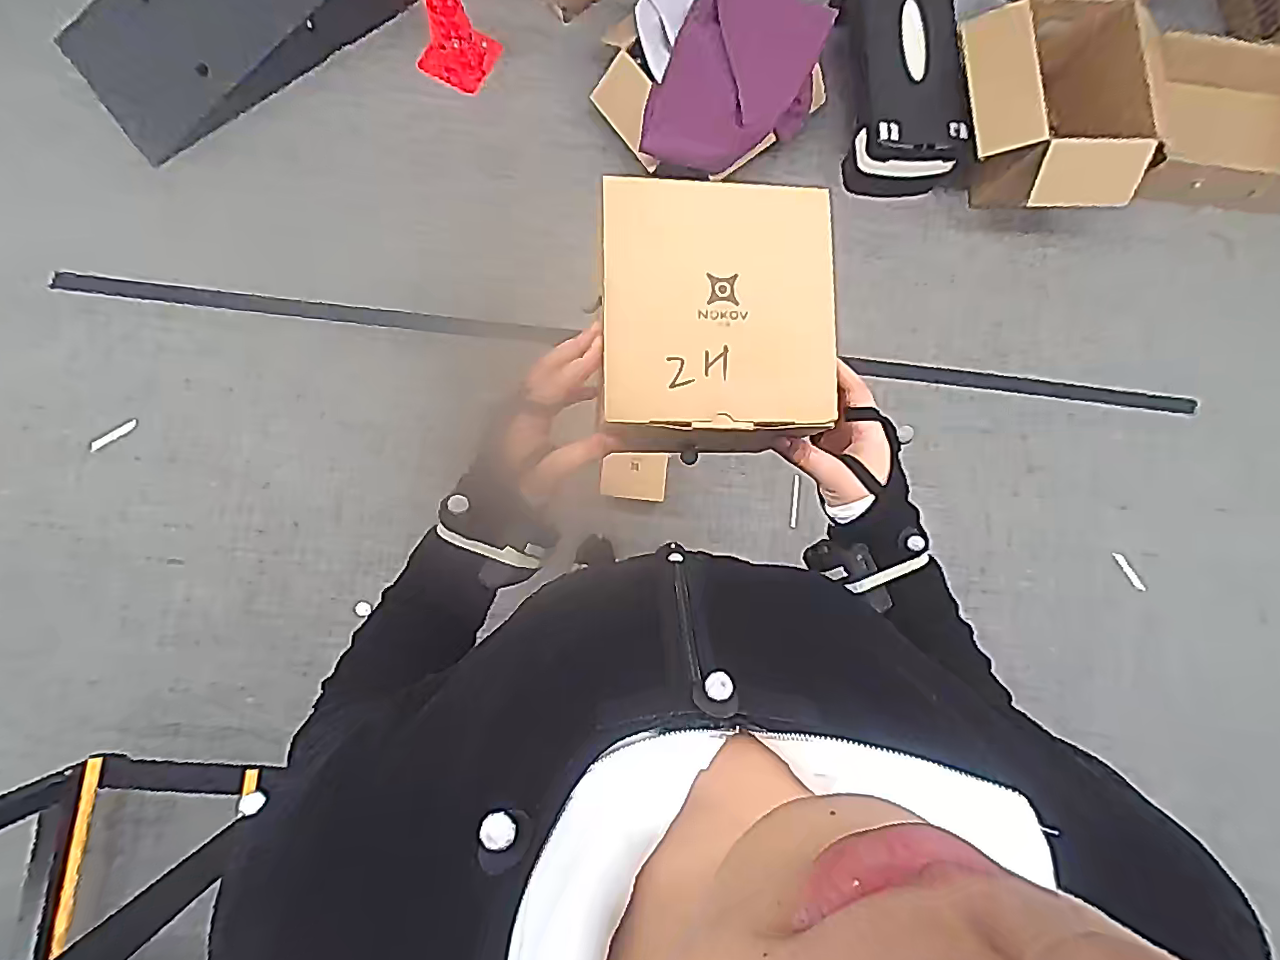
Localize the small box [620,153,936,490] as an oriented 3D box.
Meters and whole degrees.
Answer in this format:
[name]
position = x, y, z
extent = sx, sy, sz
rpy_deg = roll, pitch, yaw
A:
[small box]
position = 0.073, -0.086, 0.375
extent = 0.168, 0.176, 0.179
rpy_deg = 0, 86, -6
